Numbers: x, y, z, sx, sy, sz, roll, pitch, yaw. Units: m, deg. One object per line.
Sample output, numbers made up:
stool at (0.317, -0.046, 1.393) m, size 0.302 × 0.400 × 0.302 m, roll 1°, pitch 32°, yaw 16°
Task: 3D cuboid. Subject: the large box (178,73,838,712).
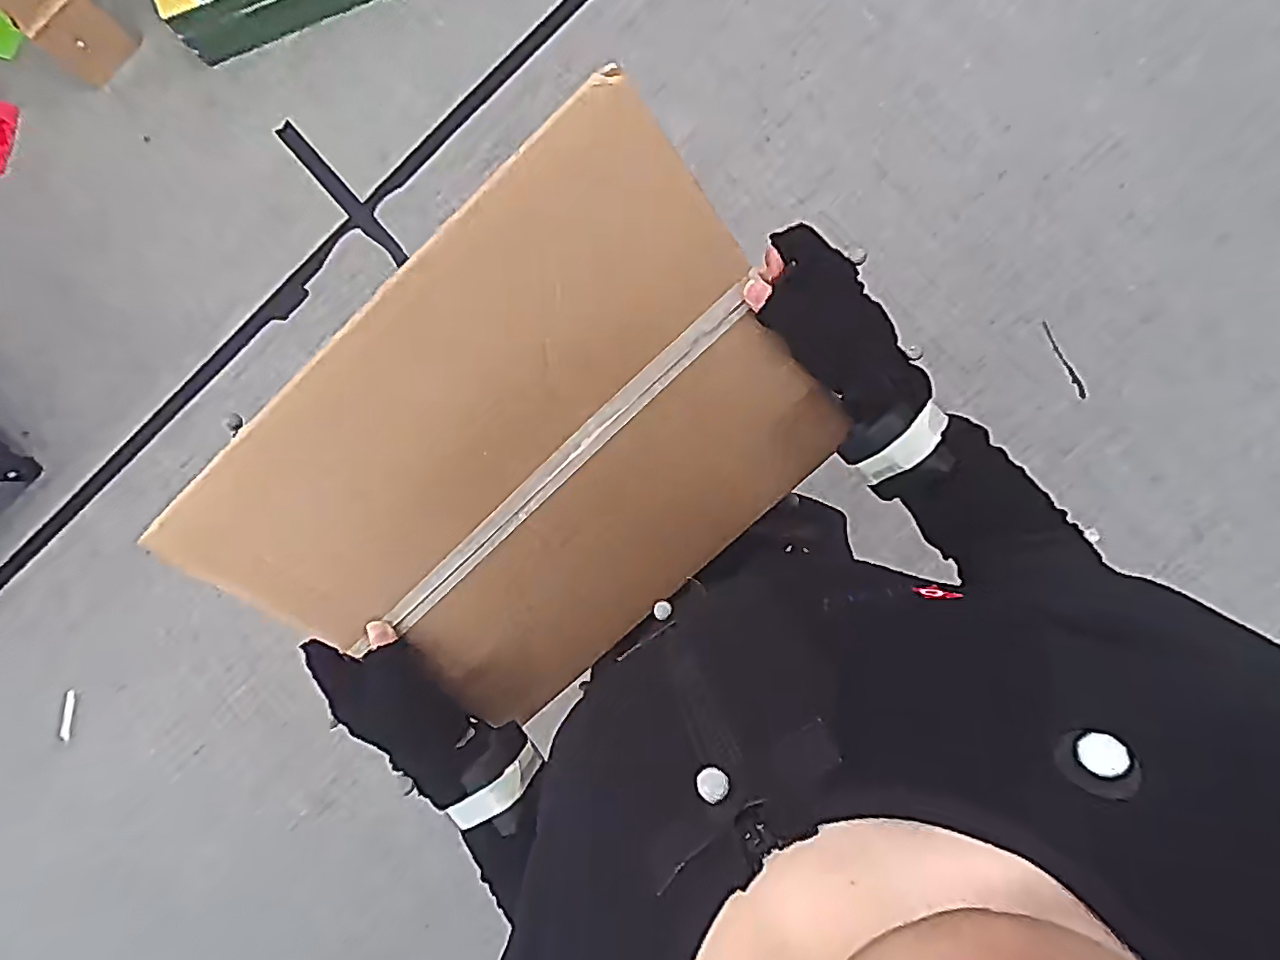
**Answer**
large box at (-0.108, -0.071, 0.535) m, size 0.408 × 0.320 × 0.320 m, roll -42°, pitch 119°, yaw 6°
